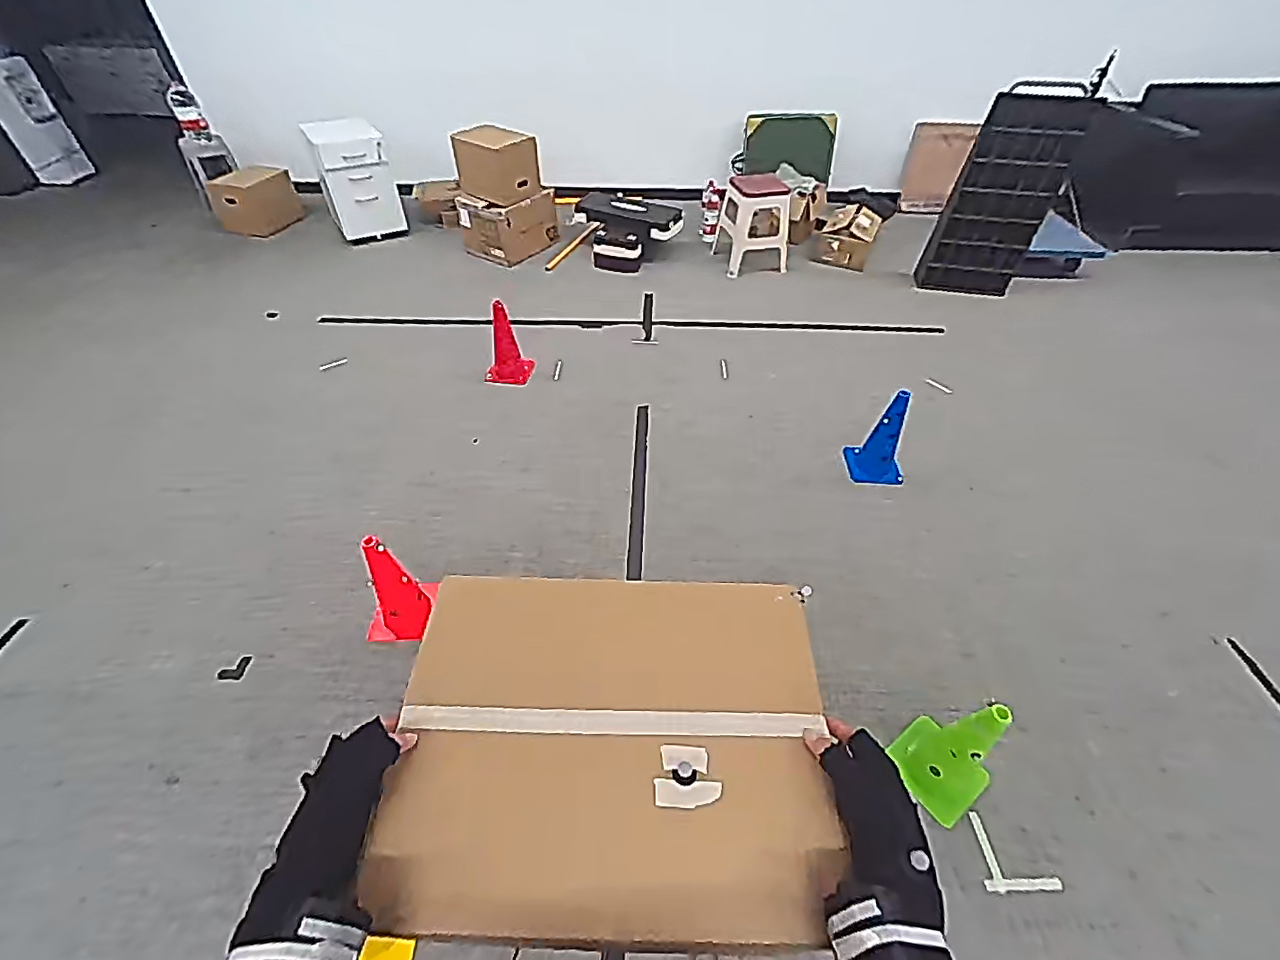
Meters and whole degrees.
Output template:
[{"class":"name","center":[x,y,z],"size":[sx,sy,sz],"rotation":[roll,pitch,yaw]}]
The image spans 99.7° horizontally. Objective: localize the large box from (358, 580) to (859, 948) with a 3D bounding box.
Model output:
[{"class":"large box","center":[-0.026,0.334,0.630],"size":[0.408,0.320,0.320],"rotation":[2,48,0]}]

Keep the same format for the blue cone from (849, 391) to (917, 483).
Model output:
[{"class":"blue cone","center":[0.948,-0.175,2.046],"size":[0.192,0.380,0.193],"rotation":[5,46,2]}]

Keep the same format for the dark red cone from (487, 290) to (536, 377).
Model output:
[{"class":"dark red cone","center":[-0.600,-0.665,2.441],"size":[0.201,0.394,0.202],"rotation":[7,46,4]}]

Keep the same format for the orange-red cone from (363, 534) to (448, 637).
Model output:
[{"class":"orange-red cone","center":[-0.711,0.279,1.553],"size":[0.198,0.360,0.199],"rotation":[-1,47,0]}]

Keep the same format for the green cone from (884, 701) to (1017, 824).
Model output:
[{"class":"green cone","center":[0.760,0.610,1.253],"size":[0.202,0.368,0.200],"rotation":[-26,52,-26]}]
